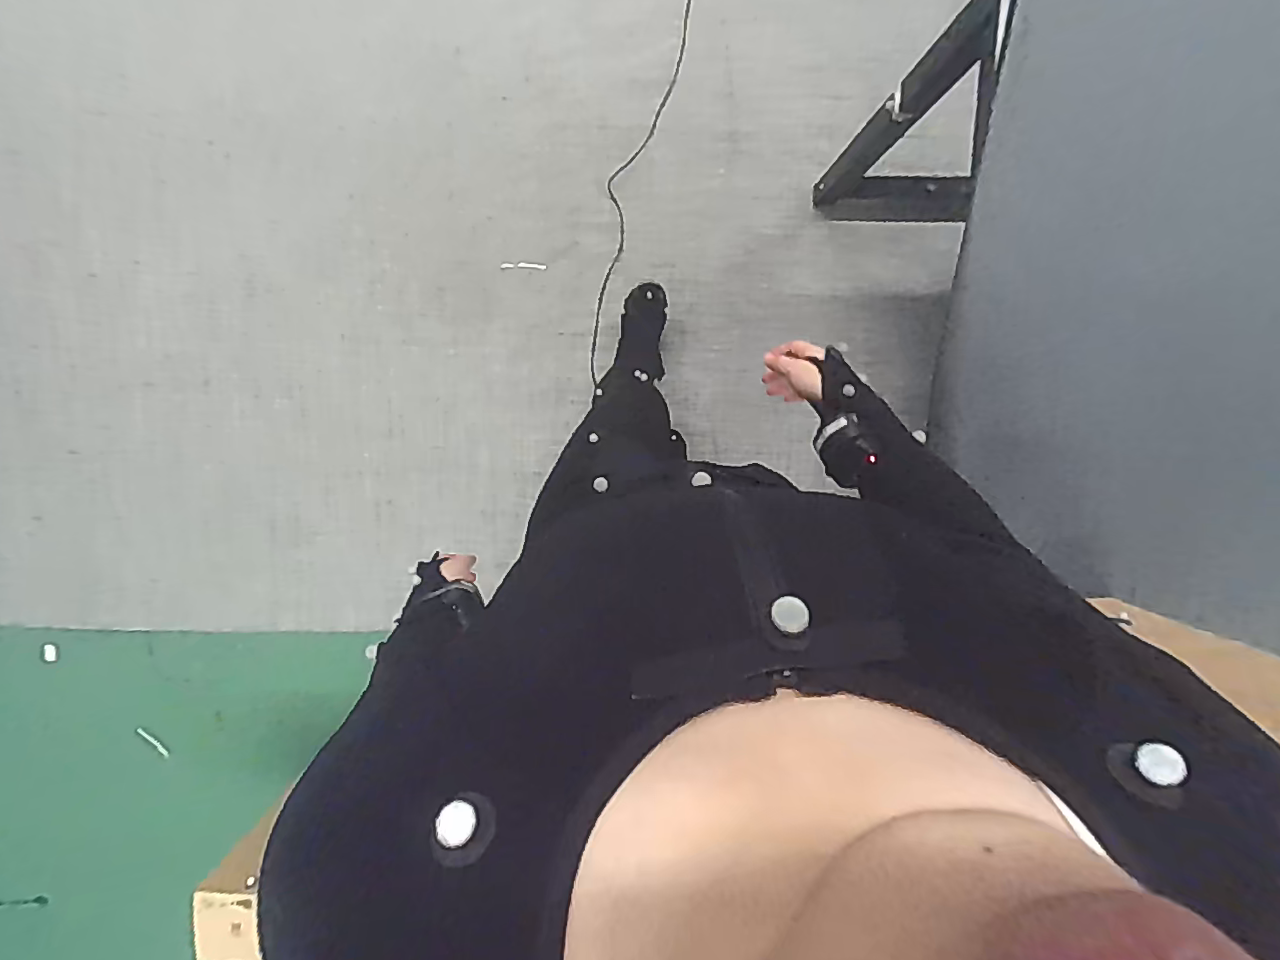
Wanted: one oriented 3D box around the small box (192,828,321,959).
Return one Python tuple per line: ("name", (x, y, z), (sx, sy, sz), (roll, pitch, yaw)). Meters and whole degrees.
("small box", (-0.813, 0.896, 1.163), (0.168, 0.176, 0.179), (4, 98, -1))
